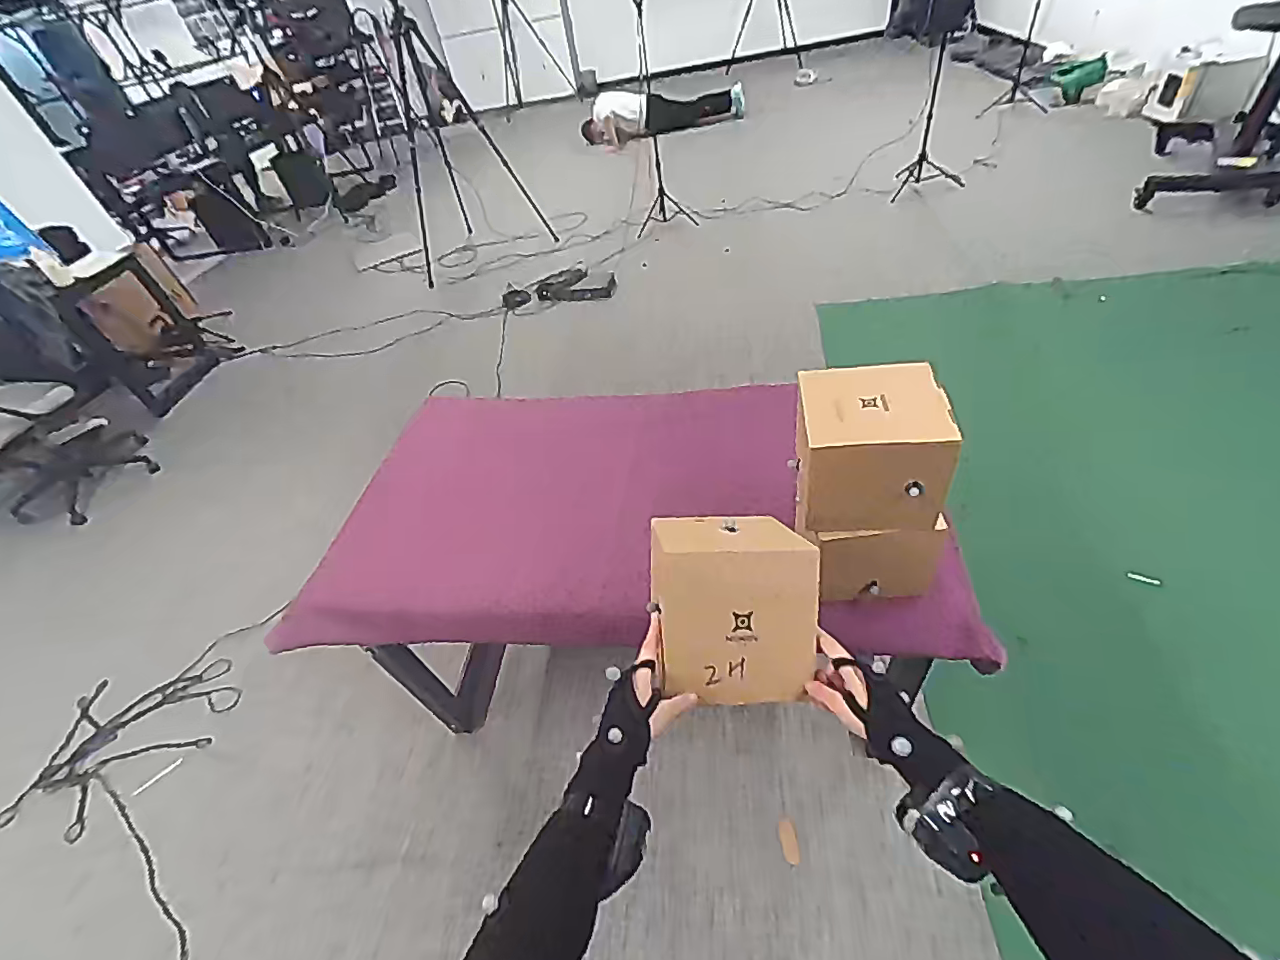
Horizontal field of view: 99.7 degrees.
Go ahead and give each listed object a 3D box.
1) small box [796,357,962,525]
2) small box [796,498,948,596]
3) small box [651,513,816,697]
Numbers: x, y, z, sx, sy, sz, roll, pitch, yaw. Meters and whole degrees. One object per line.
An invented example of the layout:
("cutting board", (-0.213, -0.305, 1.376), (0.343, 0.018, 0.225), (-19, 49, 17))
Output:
("small box", (0.315, -0.049, 0.754), (0.179, 0.176, 0.168), (-2, 45, 13))
("small box", (0.353, 0.069, 0.860), (0.179, 0.176, 0.168), (-6, 44, 8))
("small box", (0.100, 0.138, 0.655), (0.168, 0.179, 0.176), (0, 9, -3))
